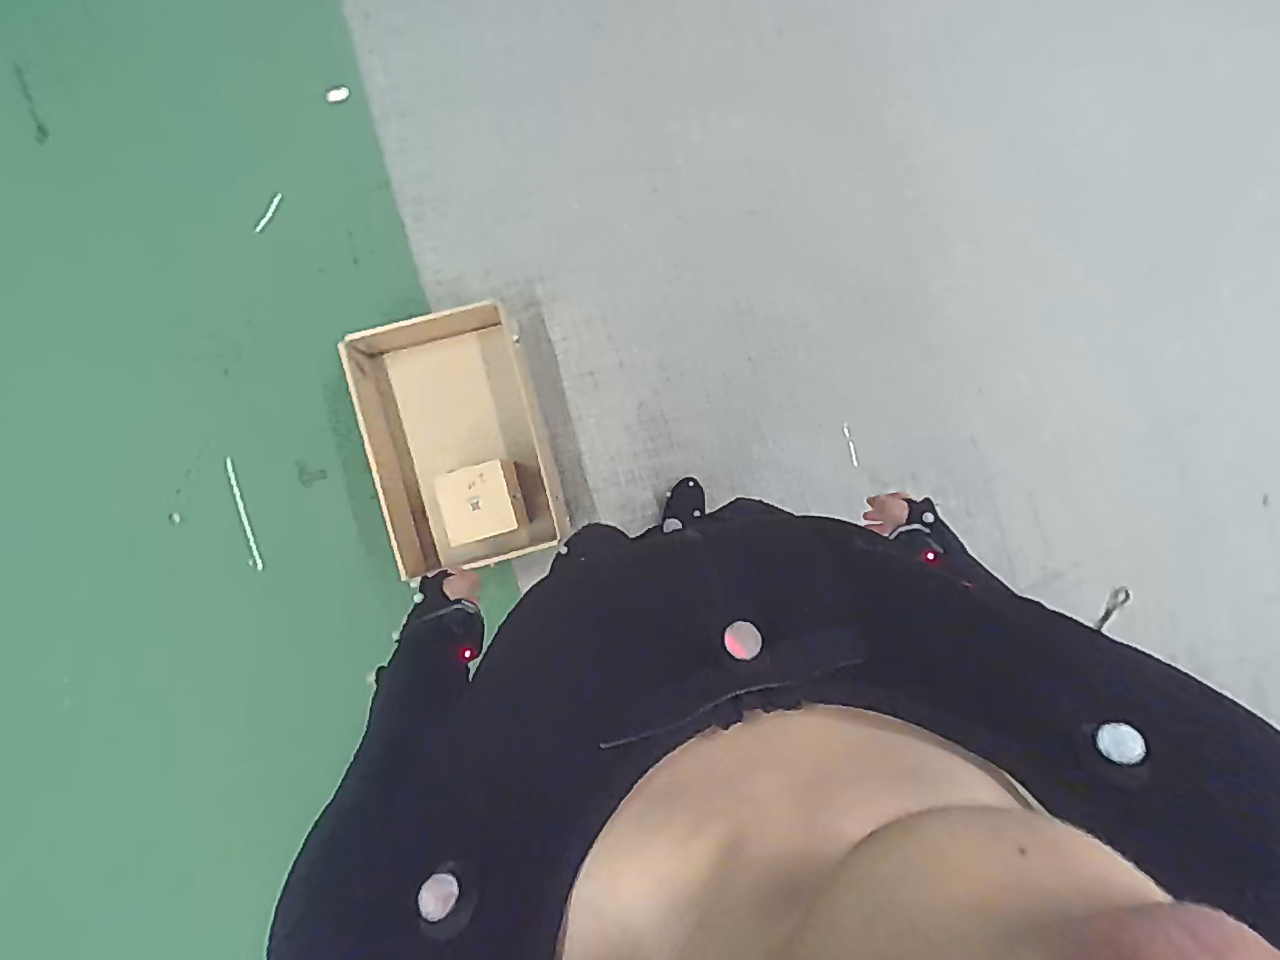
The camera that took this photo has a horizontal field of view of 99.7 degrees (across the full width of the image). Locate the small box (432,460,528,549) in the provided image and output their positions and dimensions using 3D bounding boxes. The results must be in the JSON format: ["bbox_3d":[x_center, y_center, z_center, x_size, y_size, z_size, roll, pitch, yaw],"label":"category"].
[{"bbox_3d":[-0.385,0.057,1.331,0.168,0.176,0.179,-15,89,-3],"label":"small box"}]
